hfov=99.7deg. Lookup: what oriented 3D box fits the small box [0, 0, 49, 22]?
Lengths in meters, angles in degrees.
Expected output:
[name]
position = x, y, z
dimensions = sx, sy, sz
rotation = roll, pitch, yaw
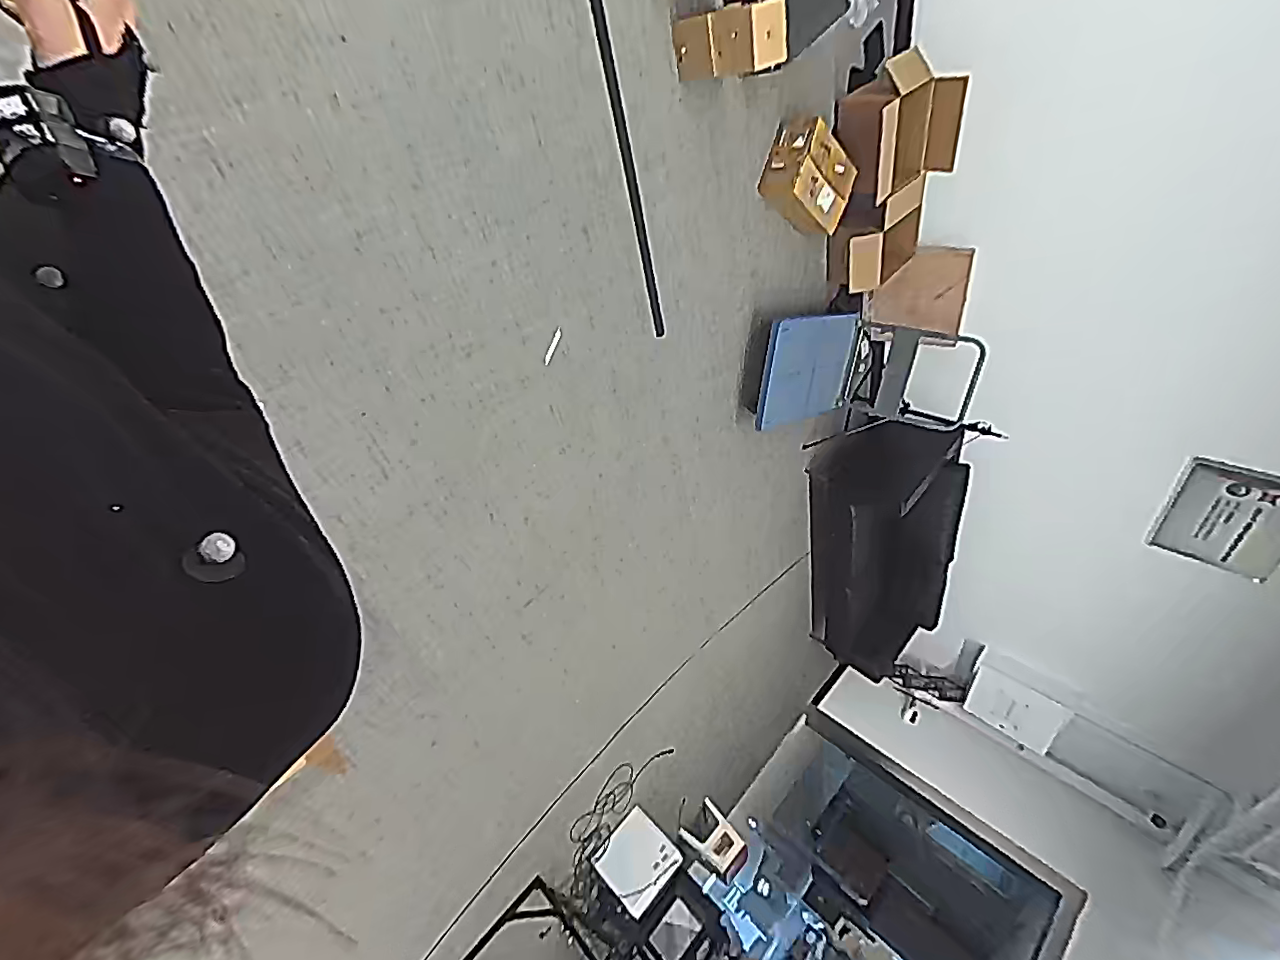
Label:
[small box]
position = -0.554, -0.478, 0.379
dimensions = 0.179, 0.176, 0.168
rotation = -1, 119, -58
